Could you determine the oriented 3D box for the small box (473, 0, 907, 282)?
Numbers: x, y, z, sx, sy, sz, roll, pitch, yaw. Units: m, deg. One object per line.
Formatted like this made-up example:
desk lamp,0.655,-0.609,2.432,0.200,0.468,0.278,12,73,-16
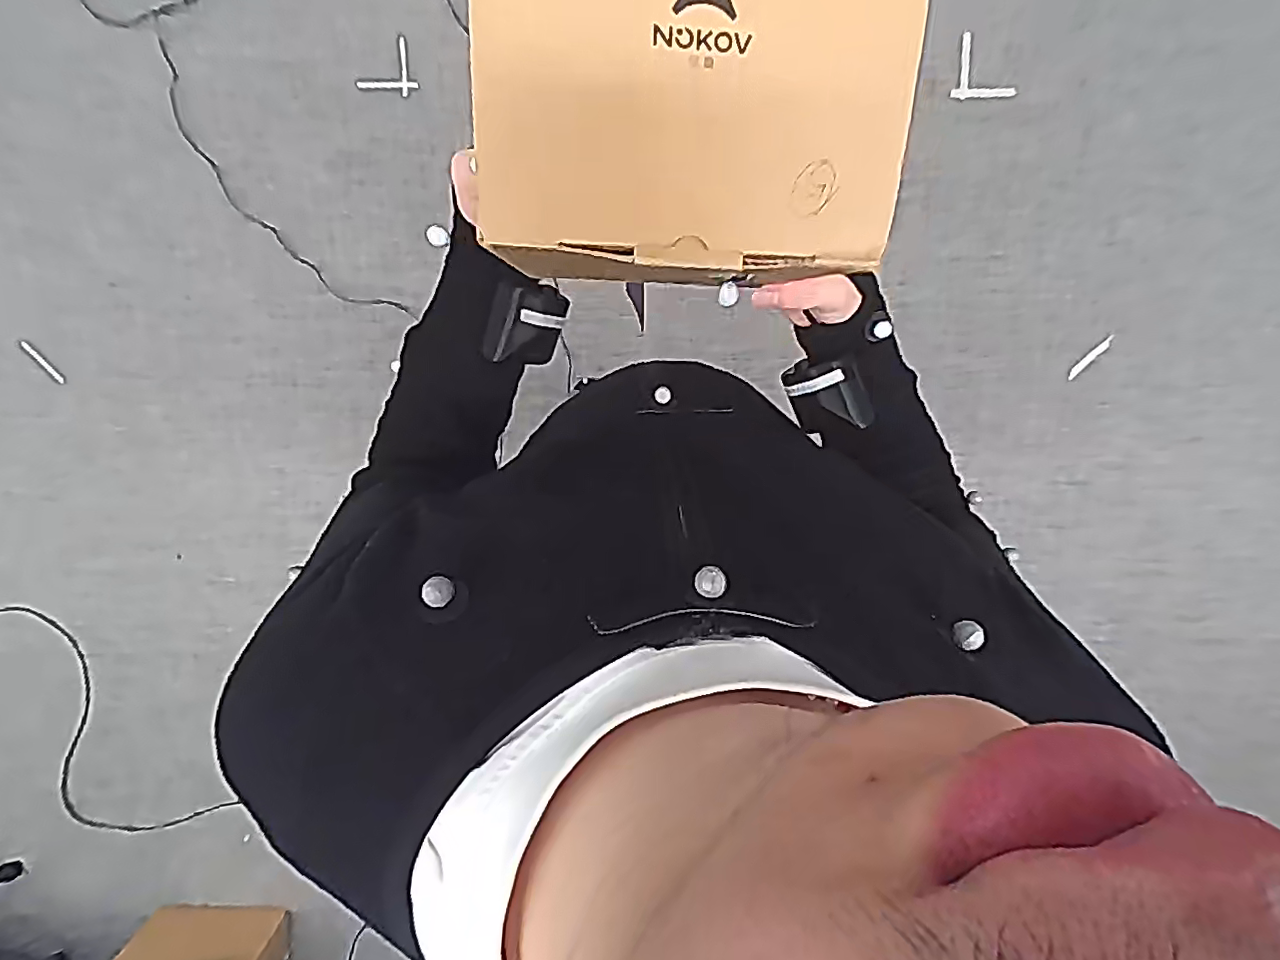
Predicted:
small box,0.014,-0.200,0.278,0.168,0.176,0.179,0,106,-6
